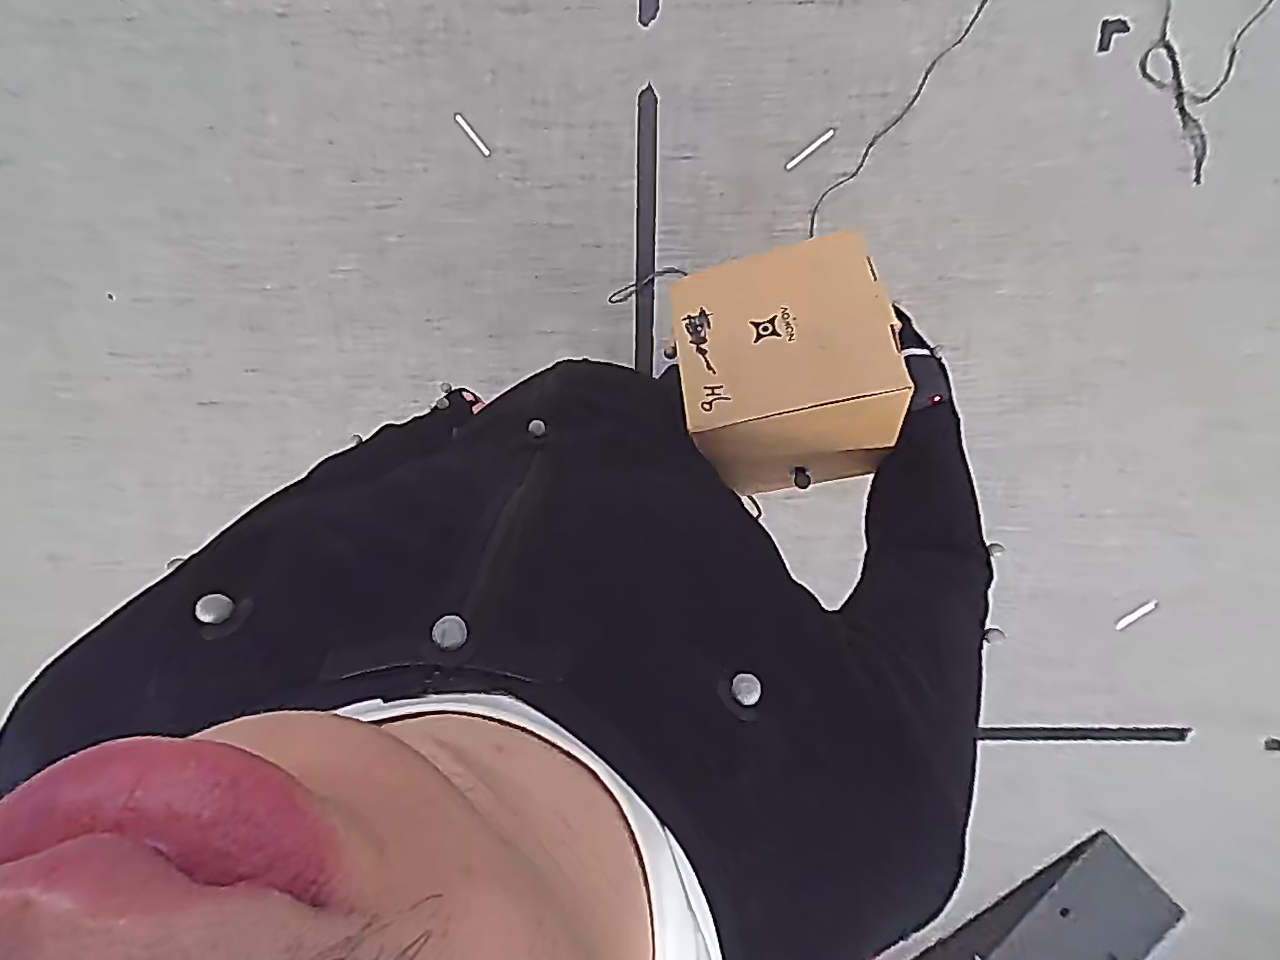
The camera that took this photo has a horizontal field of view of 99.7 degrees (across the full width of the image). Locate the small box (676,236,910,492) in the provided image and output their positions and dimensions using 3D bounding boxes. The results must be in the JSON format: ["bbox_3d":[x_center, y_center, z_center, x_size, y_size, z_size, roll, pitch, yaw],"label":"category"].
[{"bbox_3d":[0.144,-0.101,0.543,0.179,0.176,0.168,-11,65,13],"label":"small box"}]
